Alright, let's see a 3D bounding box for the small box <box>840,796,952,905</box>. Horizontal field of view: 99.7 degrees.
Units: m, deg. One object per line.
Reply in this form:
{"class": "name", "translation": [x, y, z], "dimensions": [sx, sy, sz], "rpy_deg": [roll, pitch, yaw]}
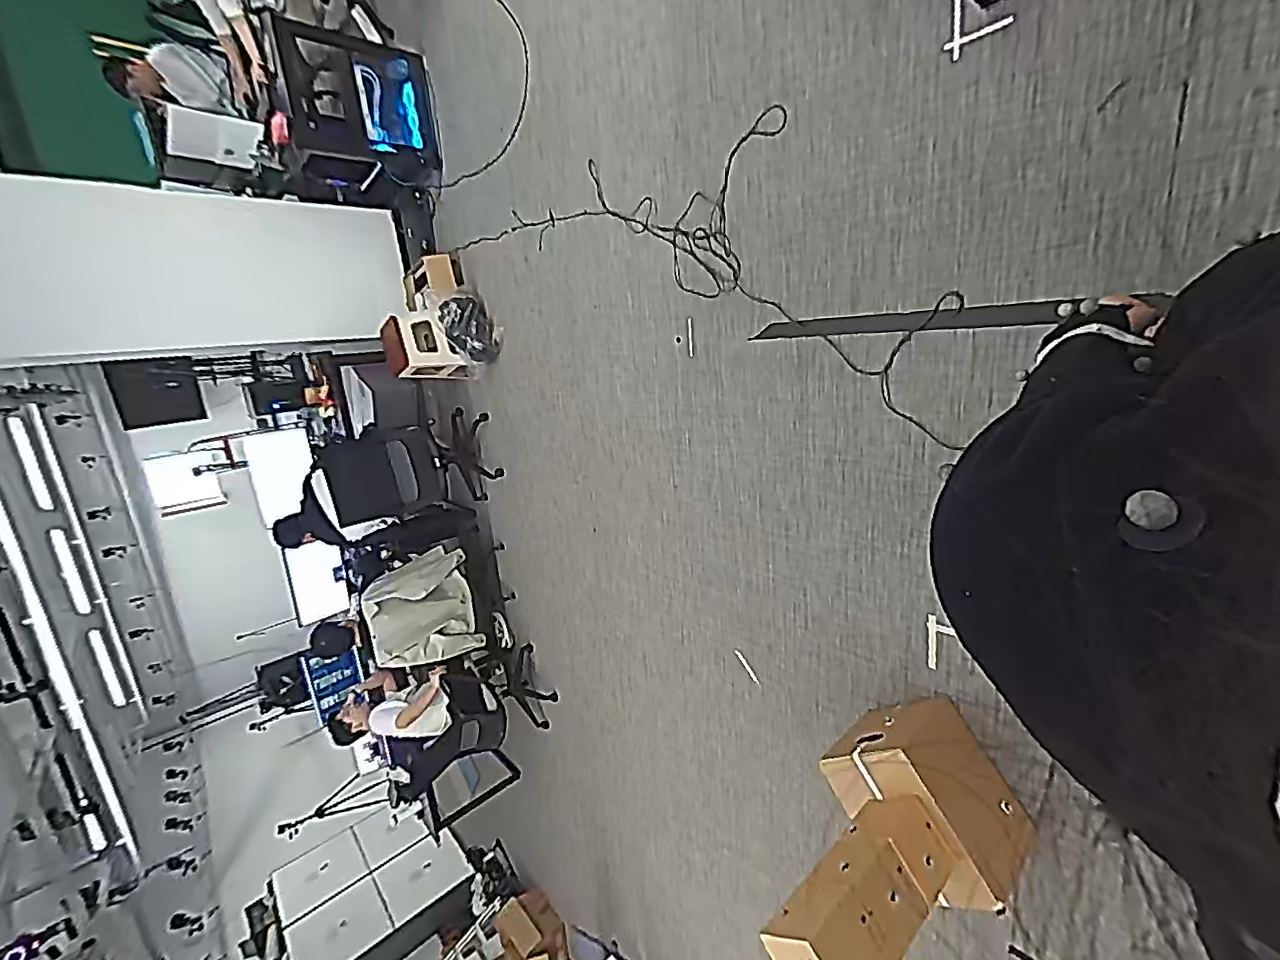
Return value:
{"class": "small box", "translation": [0.656, 0.930, 1.370], "dimensions": [0.168, 0.176, 0.179], "rpy_deg": [60, 140, 16]}

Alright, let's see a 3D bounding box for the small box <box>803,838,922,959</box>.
{"class": "small box", "translation": [0.531, 0.976, 1.274], "dimensions": [0.168, 0.176, 0.179], "rpy_deg": [60, 140, 16]}
